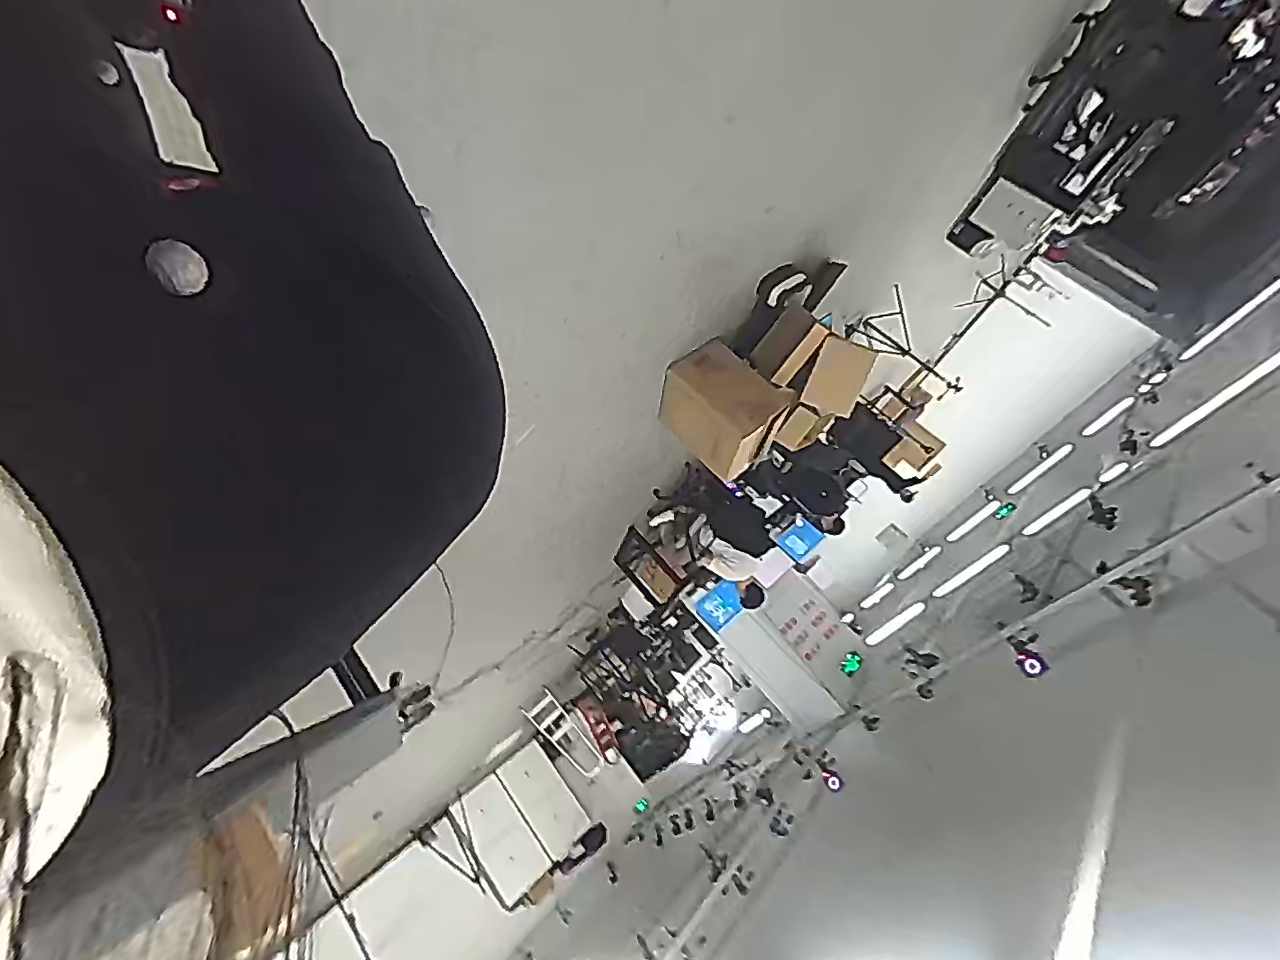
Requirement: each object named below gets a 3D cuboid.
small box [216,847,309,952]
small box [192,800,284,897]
[{"bbox_3d":[-1.108,1.230,1.586,0.179,0.176,0.168,-27,156,-38],"label":"small box"},{"bbox_3d":[-1.213,1.115,1.634,0.179,0.176,0.168,-28,156,-35],"label":"small box"}]
